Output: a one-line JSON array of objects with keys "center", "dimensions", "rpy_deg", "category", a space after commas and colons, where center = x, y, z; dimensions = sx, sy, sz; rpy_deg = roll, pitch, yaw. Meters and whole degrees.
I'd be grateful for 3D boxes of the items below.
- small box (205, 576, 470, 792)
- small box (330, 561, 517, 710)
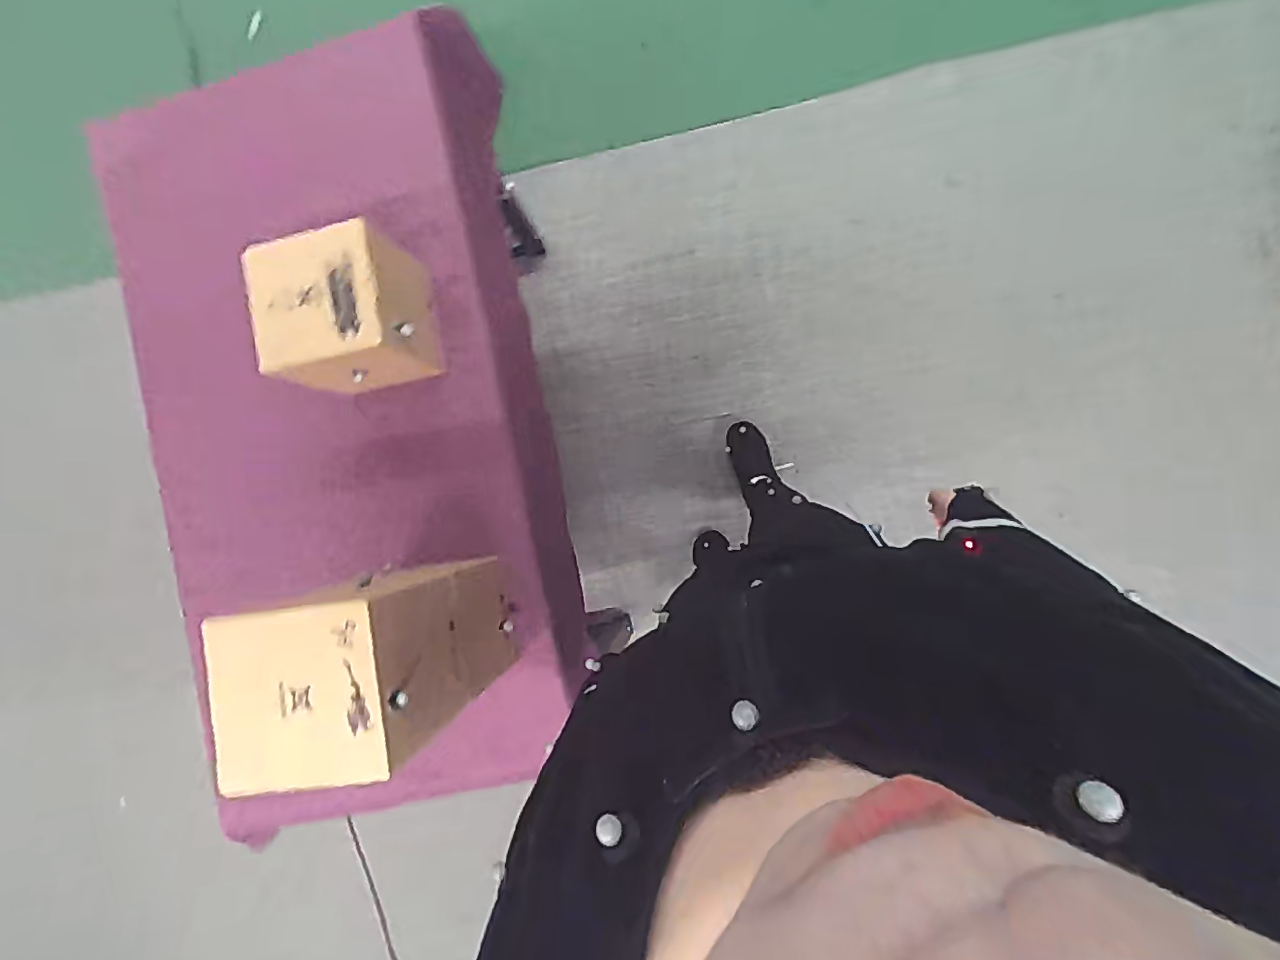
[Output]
[{"center": [-0.310, 0.206, 0.582], "dimensions": [0.179, 0.176, 0.168], "rpy_deg": [-9, 89, 8], "category": "small box"}, {"center": [-0.288, 0.210, 0.746], "dimensions": [0.179, 0.176, 0.168], "rpy_deg": [-8, 88, 6], "category": "small box"}]
